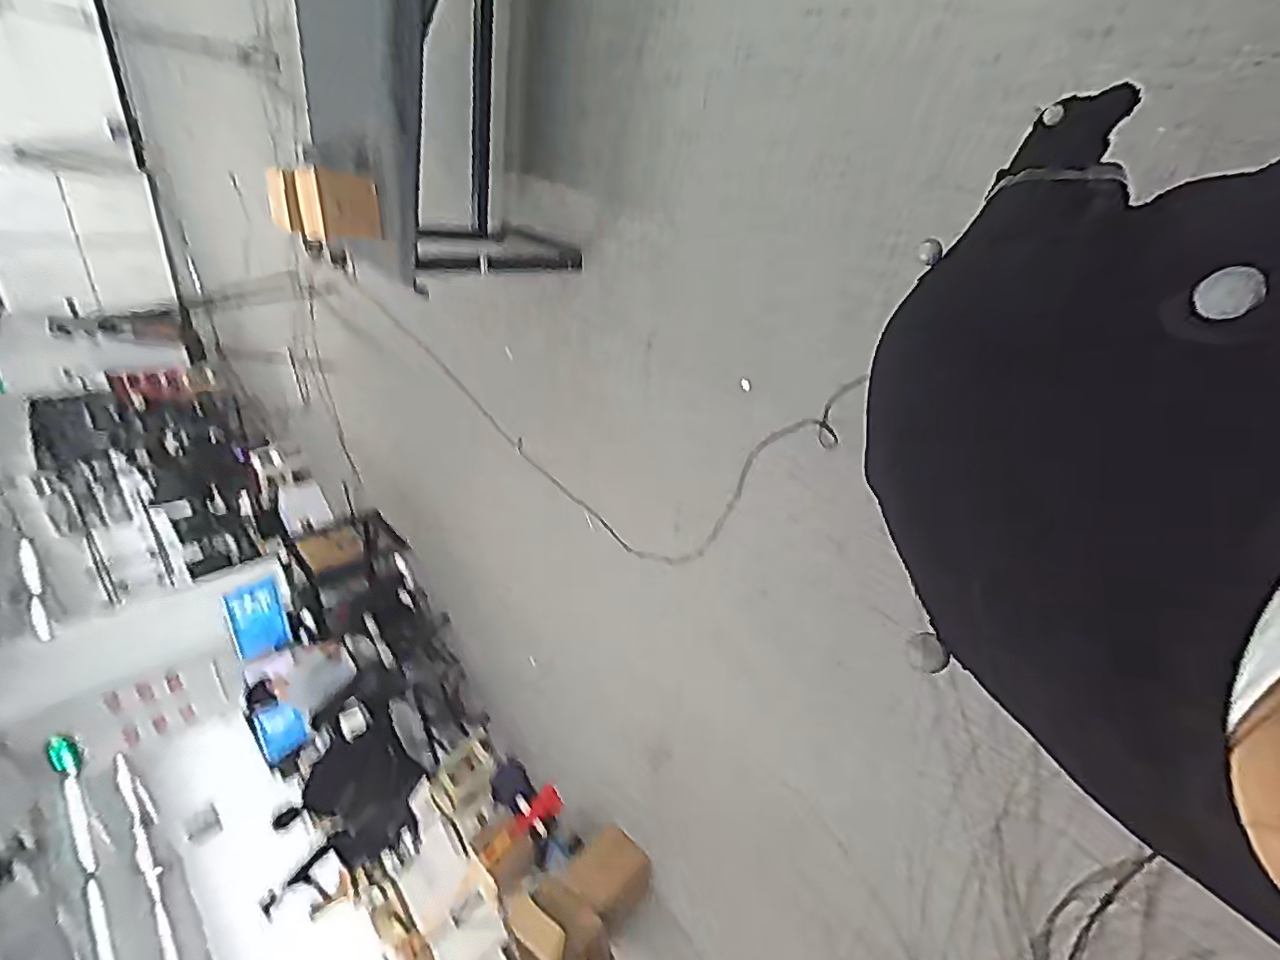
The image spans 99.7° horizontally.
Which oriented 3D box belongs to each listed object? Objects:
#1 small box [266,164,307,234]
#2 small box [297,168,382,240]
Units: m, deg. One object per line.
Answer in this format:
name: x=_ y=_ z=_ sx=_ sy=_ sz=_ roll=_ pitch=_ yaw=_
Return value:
small box: x=-1.084 y=-0.910 z=1.764 sx=0.168 sy=0.176 sz=0.179 roll=32 pitch=125 yaw=32
small box: x=-0.883 y=-0.811 z=1.600 sx=0.168 sy=0.176 sz=0.179 roll=23 pitch=119 yaw=38
